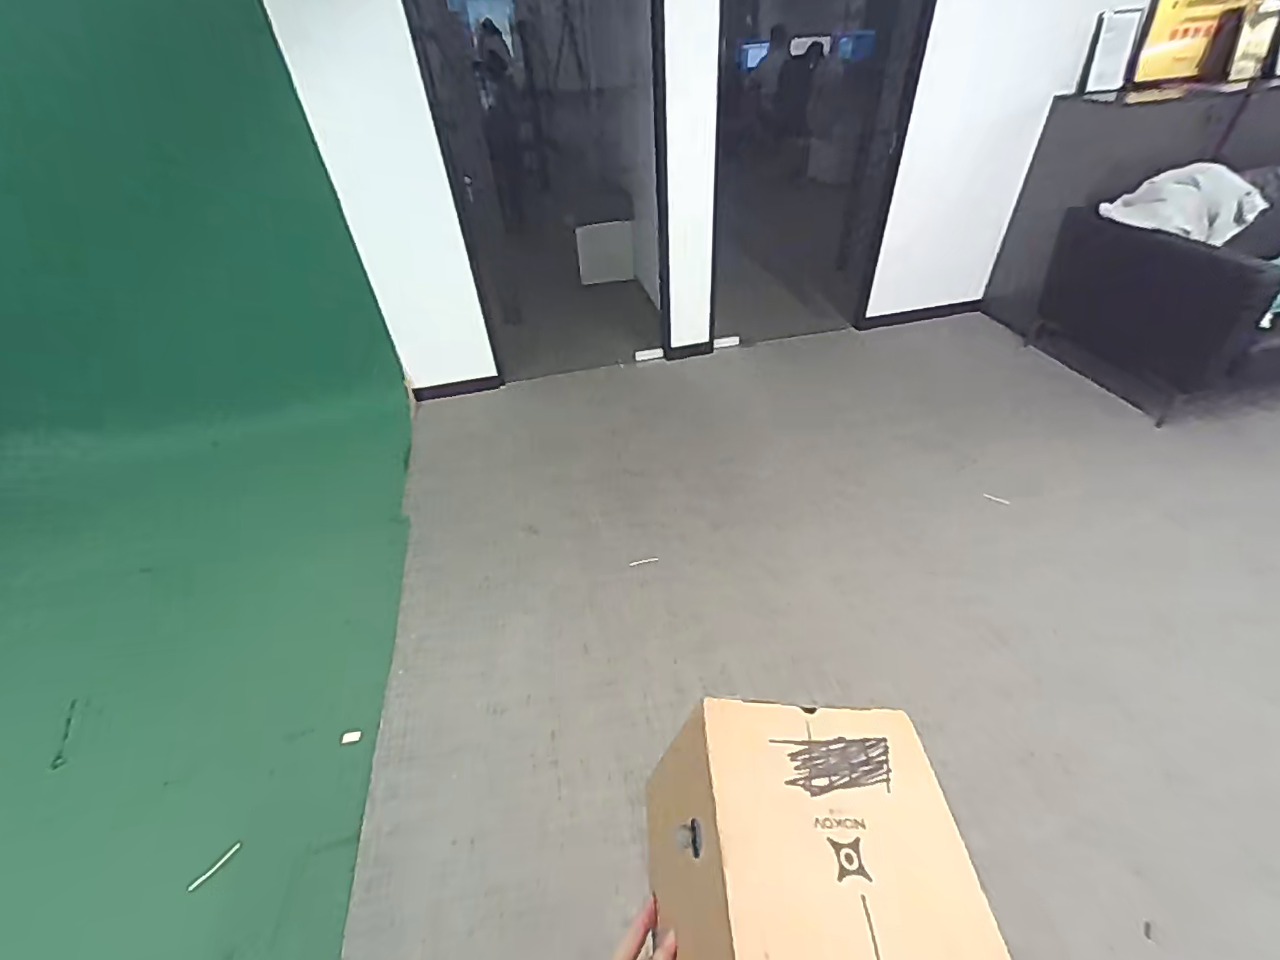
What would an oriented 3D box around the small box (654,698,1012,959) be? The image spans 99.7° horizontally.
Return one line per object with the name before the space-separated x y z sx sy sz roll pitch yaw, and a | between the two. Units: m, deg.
small box | 0.110 0.282 0.383 0.168 0.176 0.179 9 42 -11
